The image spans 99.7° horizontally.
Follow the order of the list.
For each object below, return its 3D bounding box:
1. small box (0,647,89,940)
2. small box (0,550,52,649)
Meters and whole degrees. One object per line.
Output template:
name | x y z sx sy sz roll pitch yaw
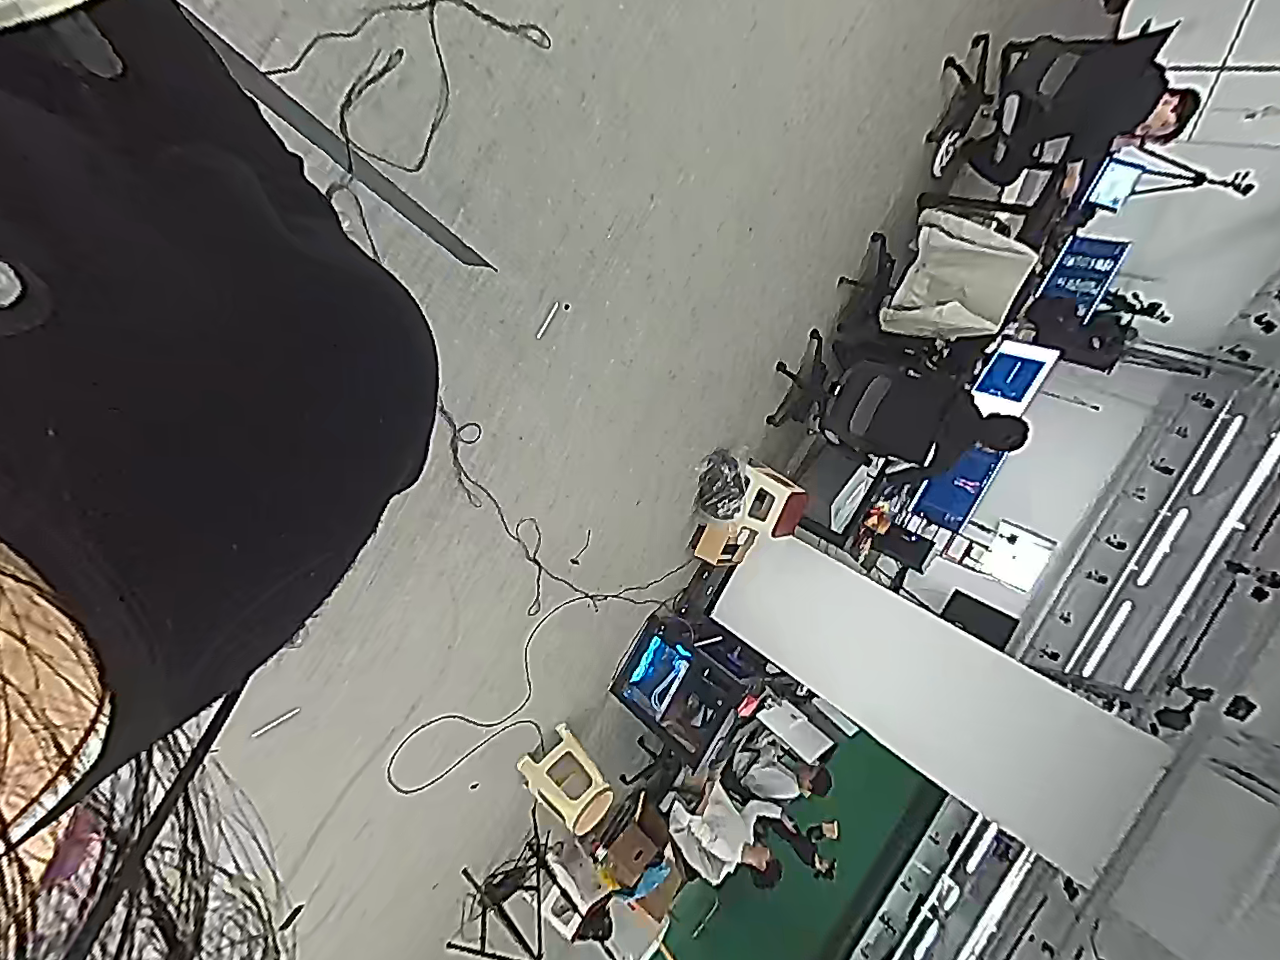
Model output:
small box | -0.570 0.244 0.400 0.179 0.176 0.168 20 101 -57
small box | -0.686 0.172 0.487 0.168 0.176 0.179 23 97 -57
